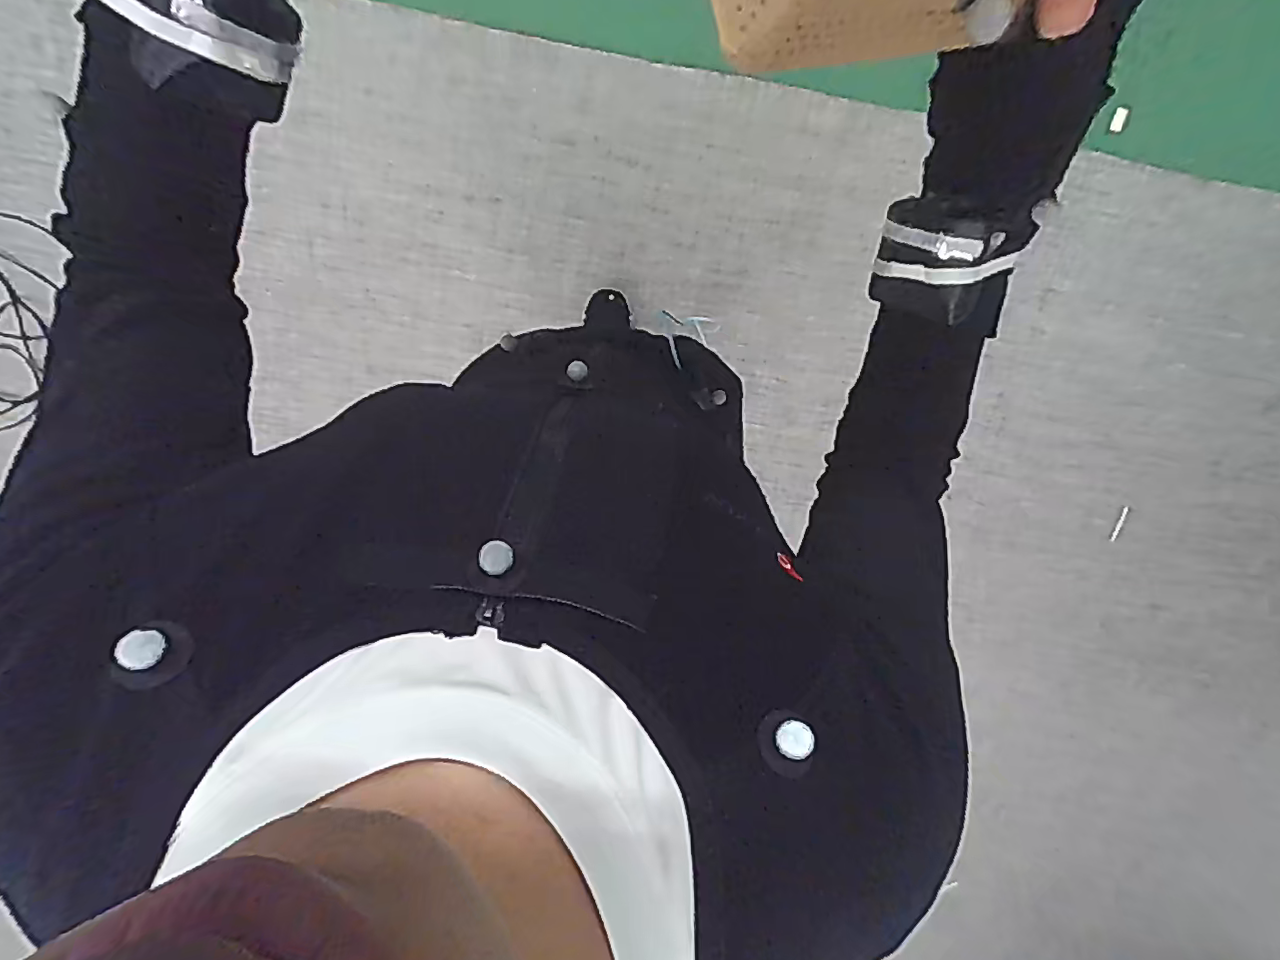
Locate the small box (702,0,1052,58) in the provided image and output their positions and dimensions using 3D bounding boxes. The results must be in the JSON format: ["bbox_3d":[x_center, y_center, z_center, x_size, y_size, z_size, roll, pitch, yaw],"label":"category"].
[{"bbox_3d":[0.114,-0.251,0.139,0.179,0.176,0.168,-21,102,-19],"label":"small box"}]
